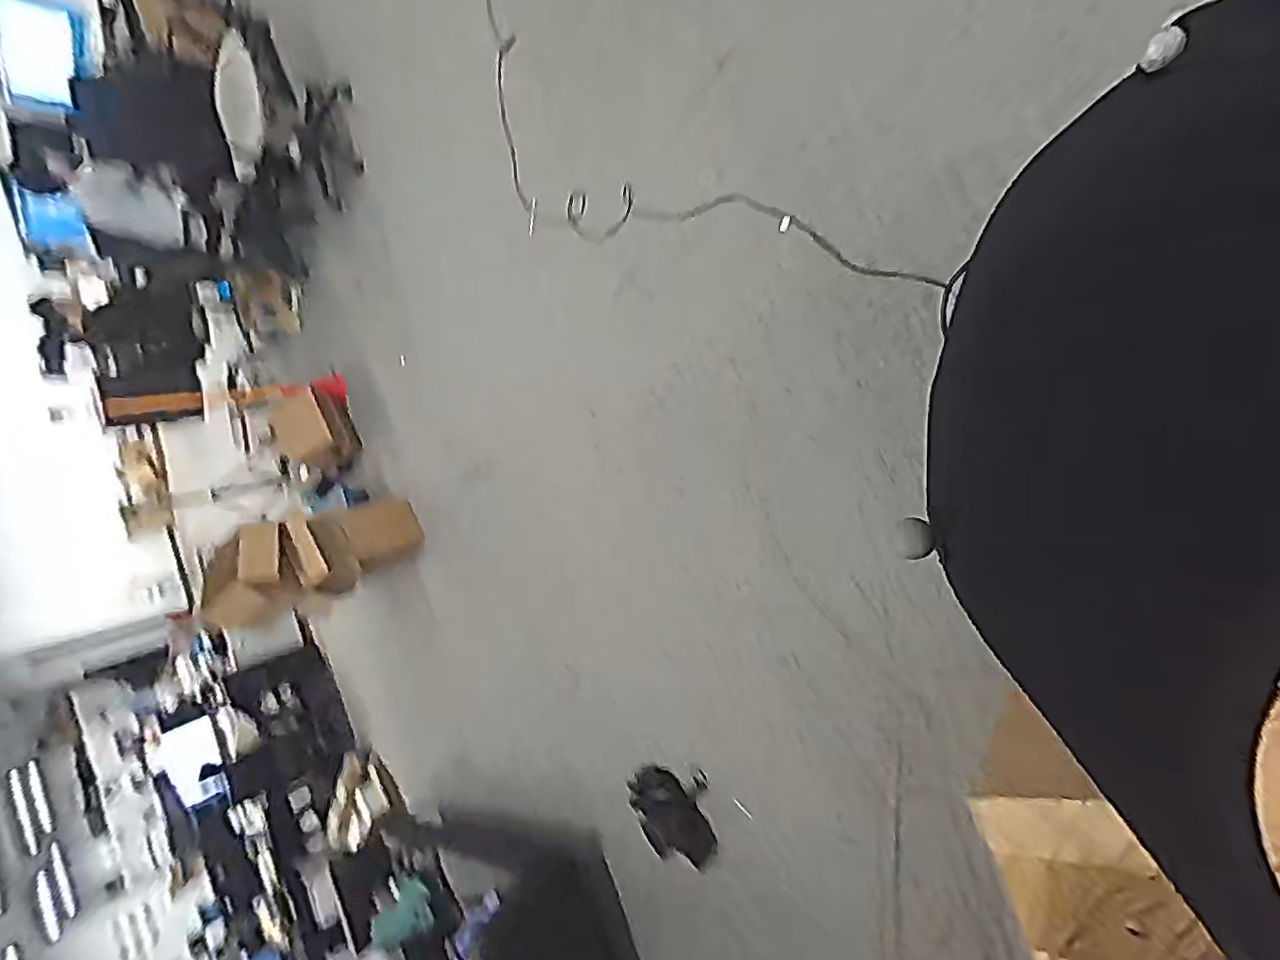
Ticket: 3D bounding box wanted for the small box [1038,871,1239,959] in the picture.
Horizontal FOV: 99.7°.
[{"bbox_3d":[0.620,0.615,0.654,0.179,0.176,0.168,-26,79,41],"label":"small box"}]
